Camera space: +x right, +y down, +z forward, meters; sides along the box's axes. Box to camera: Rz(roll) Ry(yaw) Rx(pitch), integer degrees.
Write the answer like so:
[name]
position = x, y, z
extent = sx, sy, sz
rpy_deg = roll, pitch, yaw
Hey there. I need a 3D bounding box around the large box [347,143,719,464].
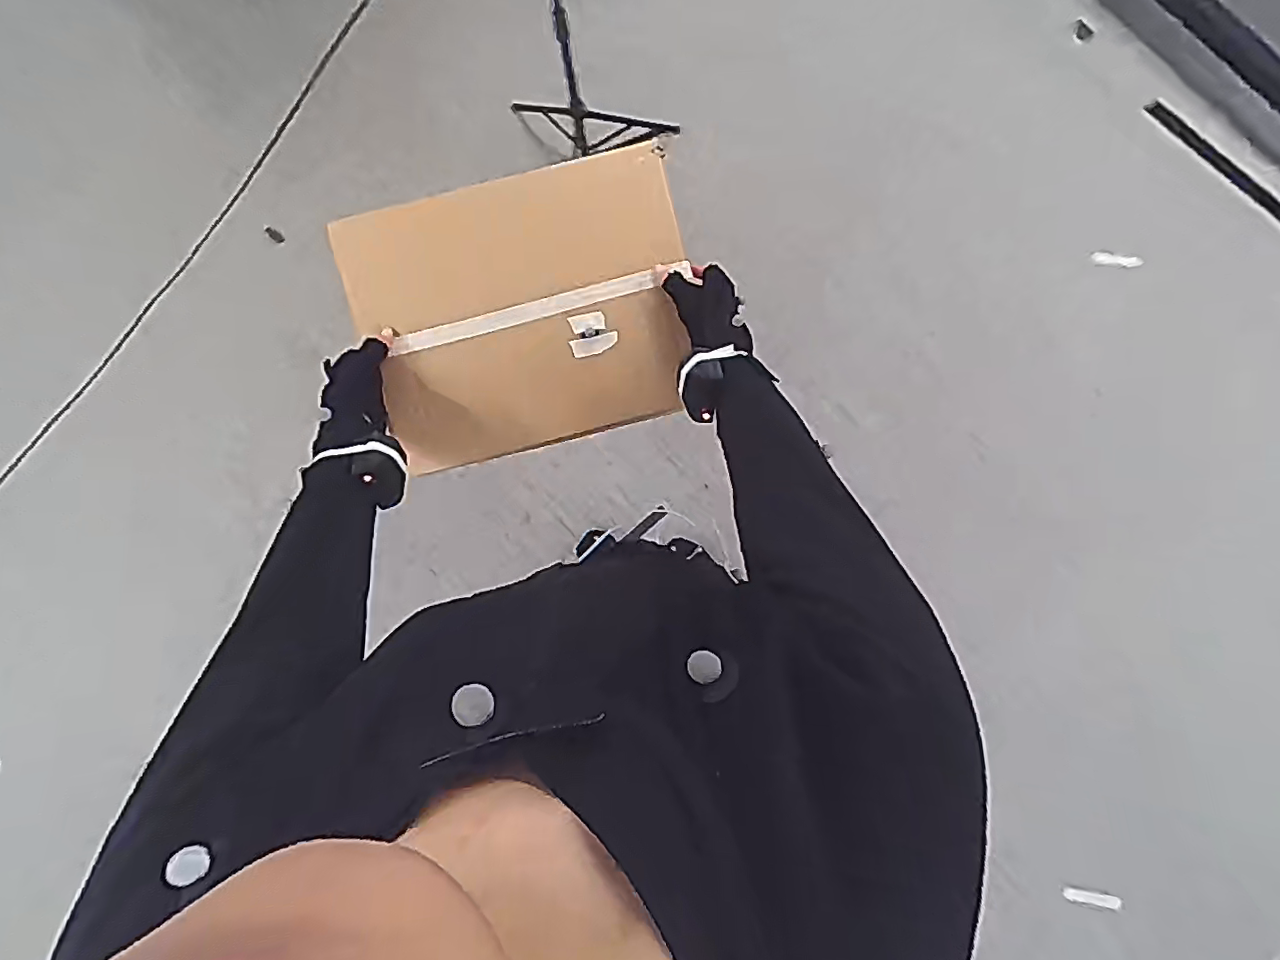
[large box]
position = -0.133, -0.224, 0.811
extent = 0.408, 0.320, 0.320
rpy_deg = -13, 95, -1
